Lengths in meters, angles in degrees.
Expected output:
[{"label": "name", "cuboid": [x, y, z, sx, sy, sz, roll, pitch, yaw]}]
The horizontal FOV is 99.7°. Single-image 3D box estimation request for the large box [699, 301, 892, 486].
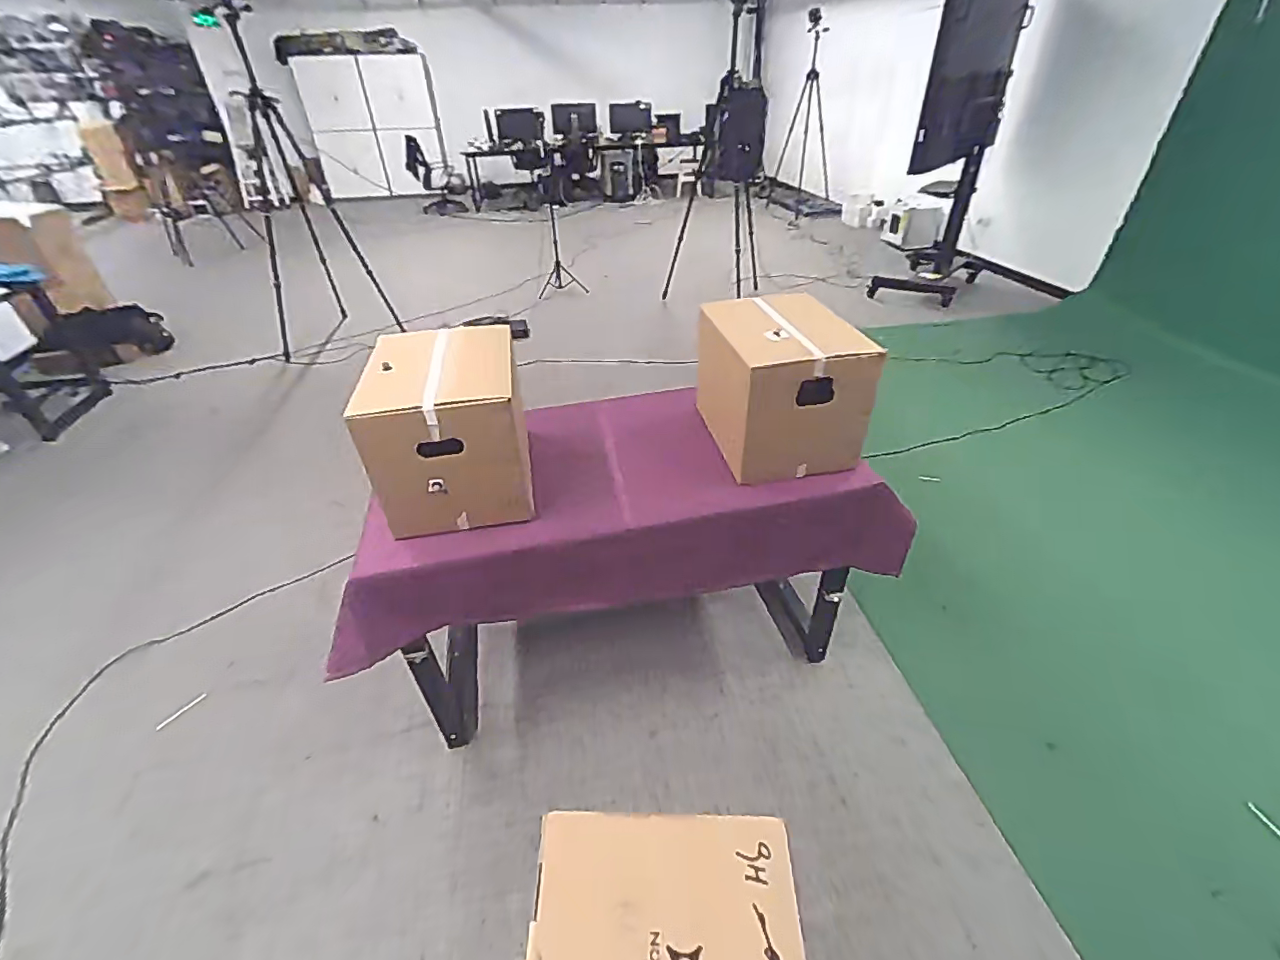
[{"label": "large box", "cuboid": [0.361, -0.236, 1.393, 0.320, 0.320, 0.408, -7, 38, -7]}]
